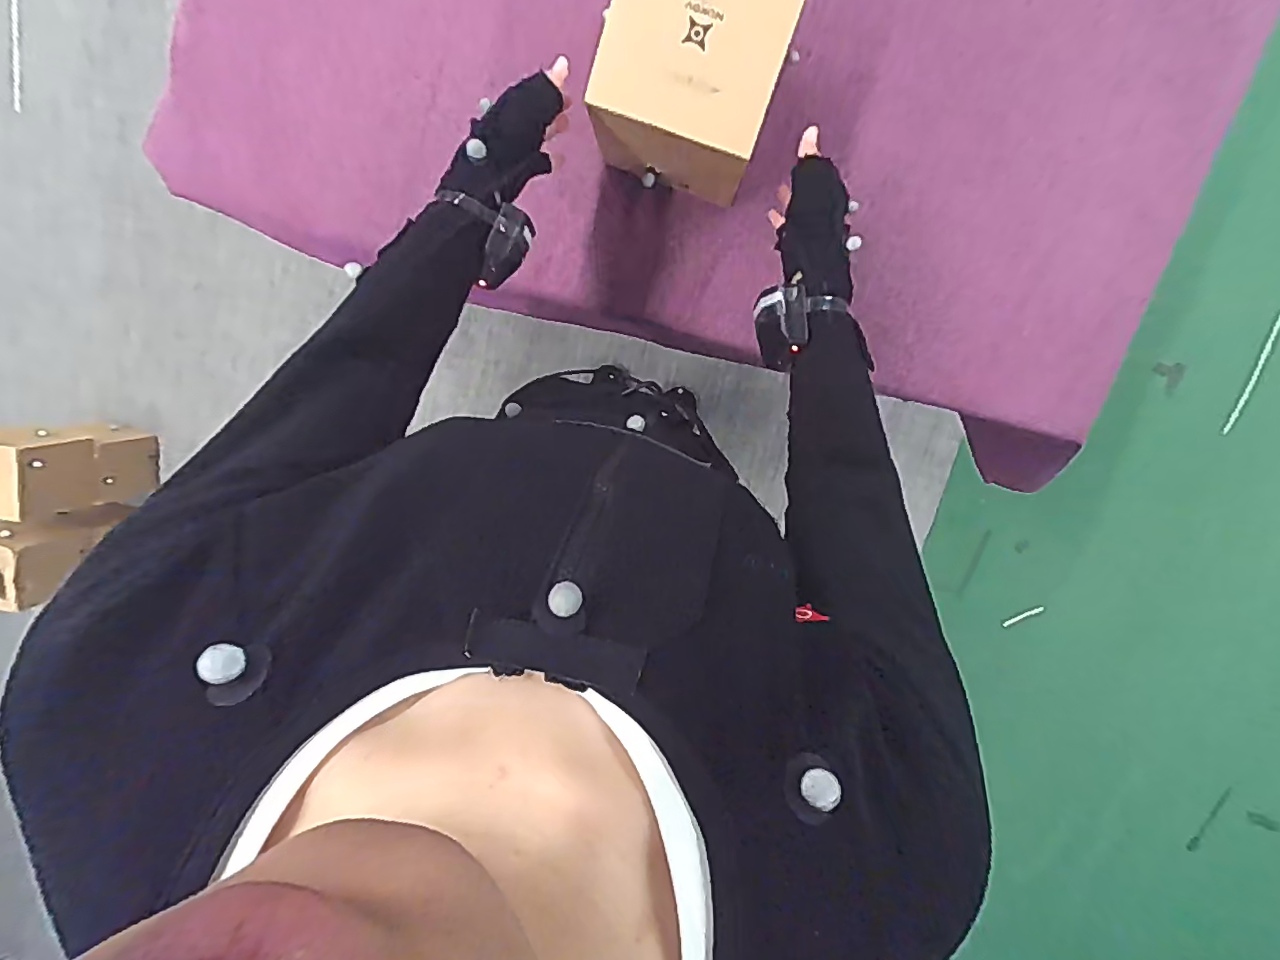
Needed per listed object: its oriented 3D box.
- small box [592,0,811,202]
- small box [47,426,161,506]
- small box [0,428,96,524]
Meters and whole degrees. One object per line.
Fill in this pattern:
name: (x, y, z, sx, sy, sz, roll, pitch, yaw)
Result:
small box: (0.061, -0.421, 0.561, 0.168, 0.176, 0.179, 18, 105, -1)
small box: (-1.435, -0.044, 1.437, 0.179, 0.176, 0.168, 12, 103, 0)
small box: (-1.444, -0.015, 1.276, 0.168, 0.176, 0.179, 11, 102, -1)
